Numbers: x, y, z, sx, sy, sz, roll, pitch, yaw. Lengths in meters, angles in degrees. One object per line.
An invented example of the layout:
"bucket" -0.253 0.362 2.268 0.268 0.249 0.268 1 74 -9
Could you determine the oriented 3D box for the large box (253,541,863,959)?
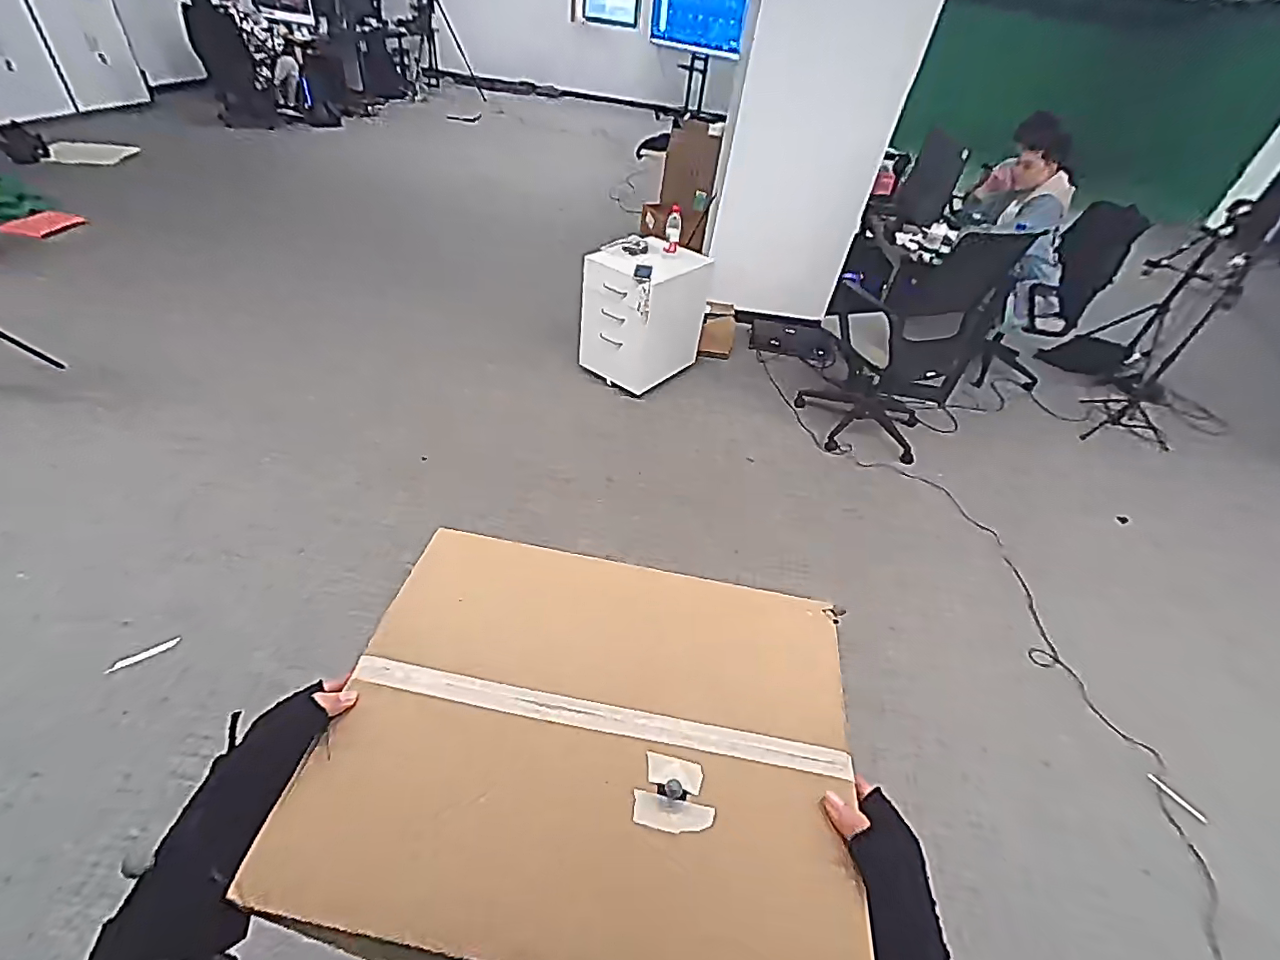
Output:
"large box" -0.049 0.305 0.546 0.408 0.320 0.320 11 44 3
